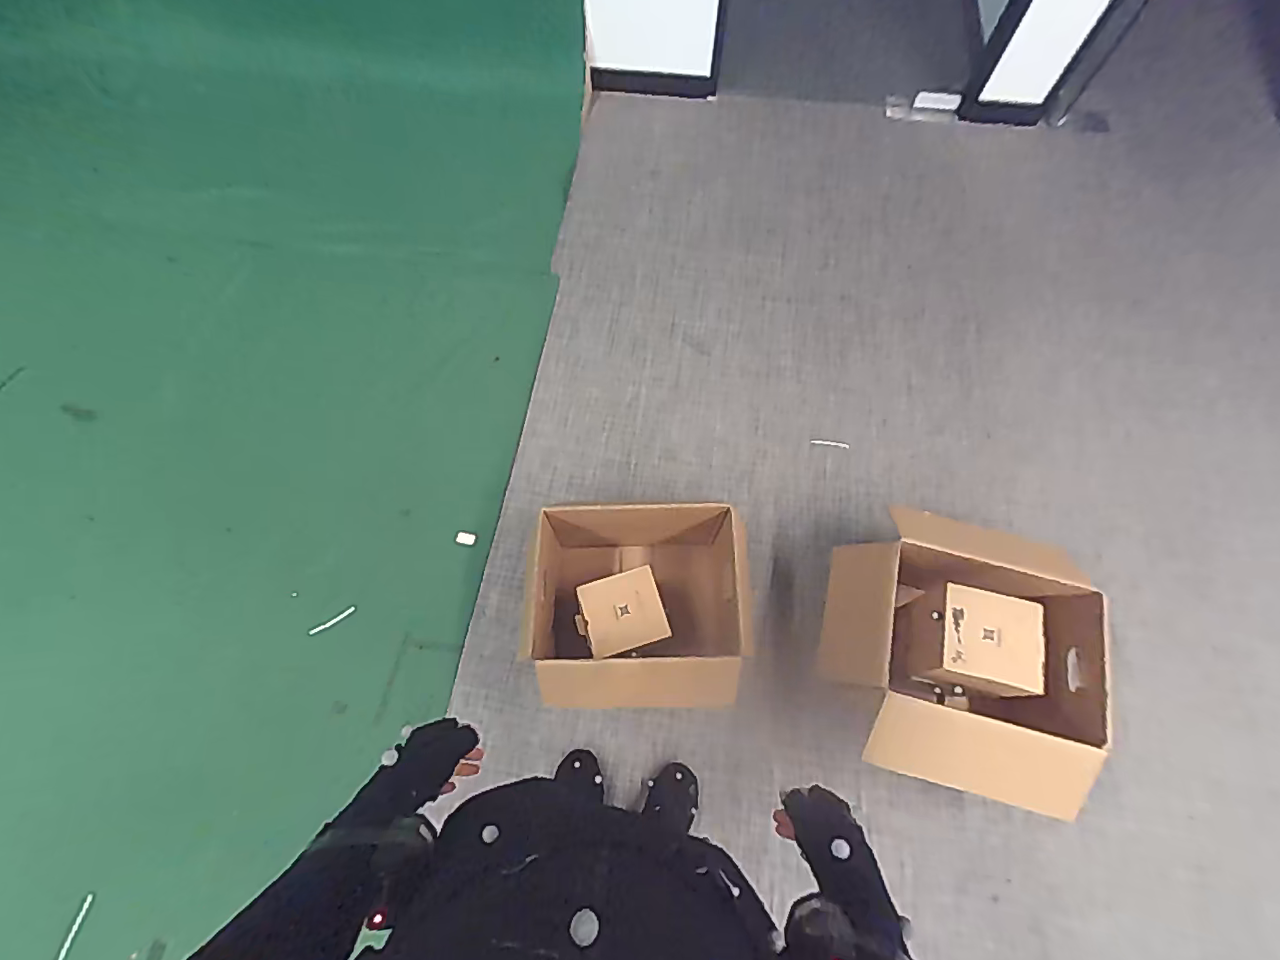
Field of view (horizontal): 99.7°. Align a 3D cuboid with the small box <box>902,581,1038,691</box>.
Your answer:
[{"bbox_3d":[0.656,0.319,1.087,0.179,0.176,0.168,13,67,7],"label":"small box"}]
